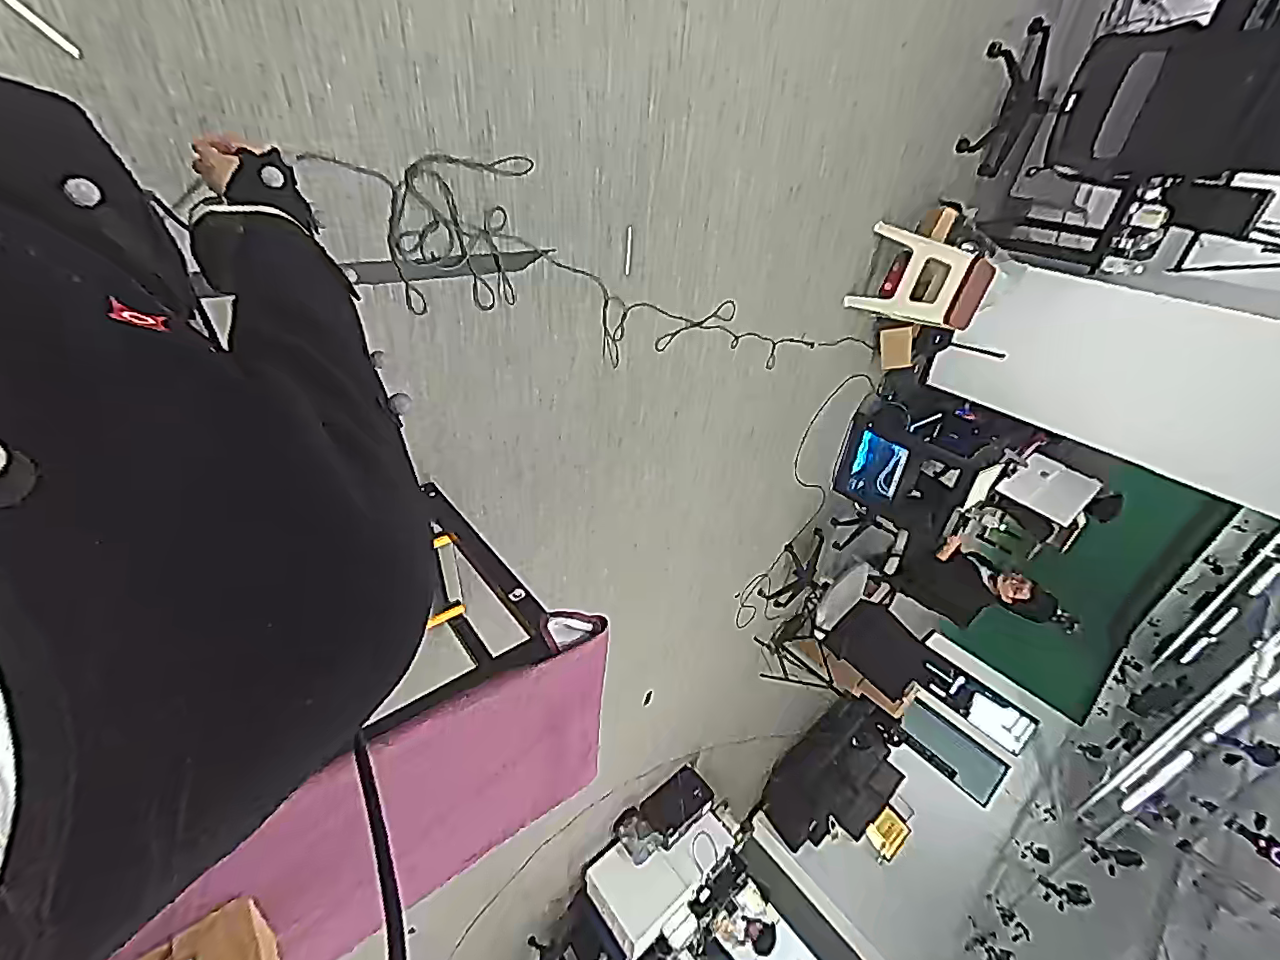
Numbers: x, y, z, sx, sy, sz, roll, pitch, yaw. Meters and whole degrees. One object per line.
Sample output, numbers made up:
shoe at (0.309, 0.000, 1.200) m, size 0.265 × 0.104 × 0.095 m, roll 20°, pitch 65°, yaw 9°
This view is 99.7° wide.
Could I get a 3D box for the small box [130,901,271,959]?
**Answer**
small box at (-0.664, 0.798, 0.820) m, size 0.168 × 0.176 × 0.179 m, roll -20°, pitch 132°, yaw -38°
